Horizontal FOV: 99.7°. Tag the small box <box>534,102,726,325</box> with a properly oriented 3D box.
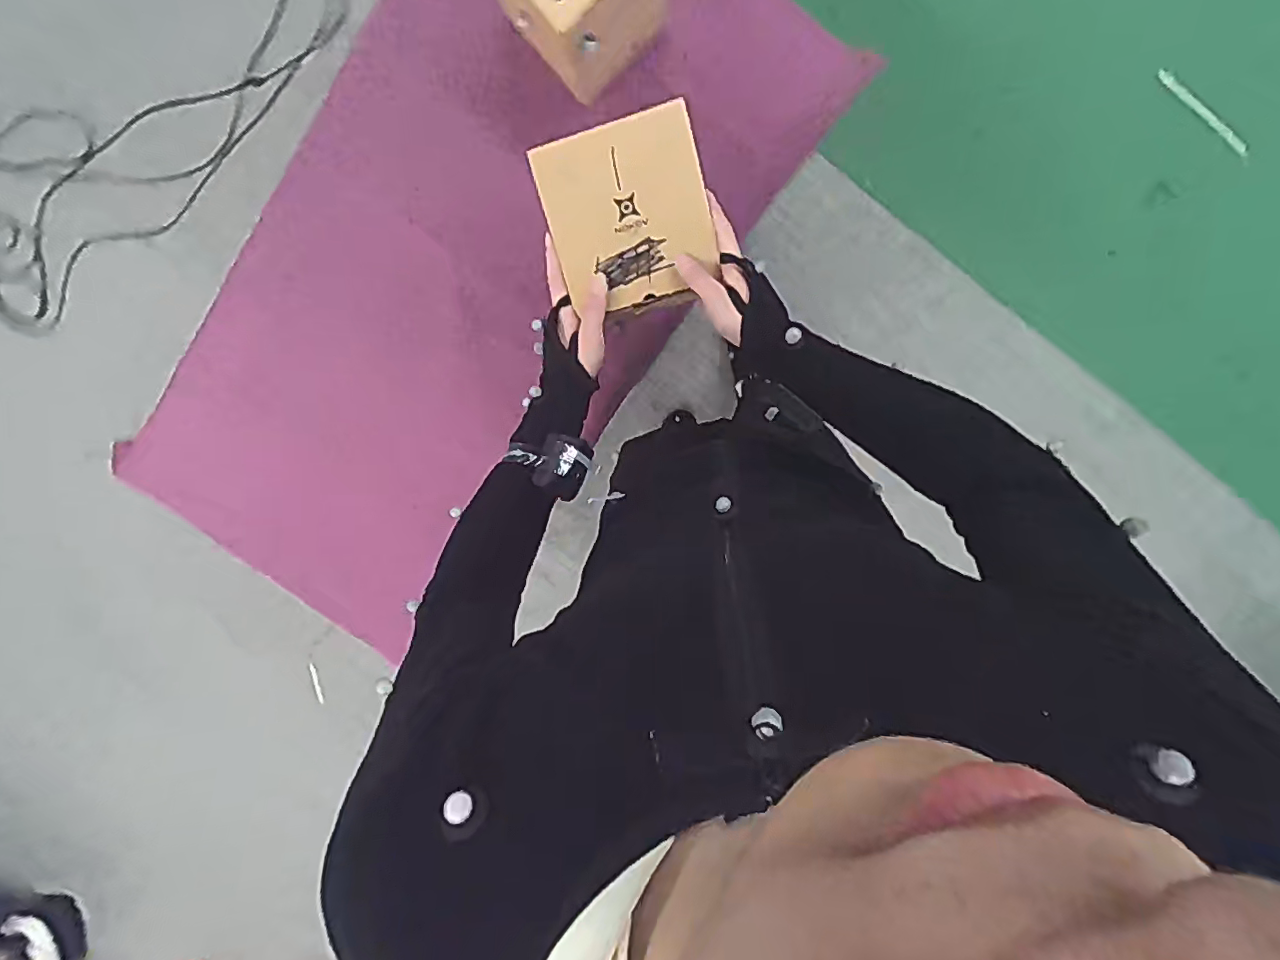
[{"bbox_3d":[-0.003,-0.287,0.628,0.168,0.176,0.179,-14,102,6],"label":"small box"}]
